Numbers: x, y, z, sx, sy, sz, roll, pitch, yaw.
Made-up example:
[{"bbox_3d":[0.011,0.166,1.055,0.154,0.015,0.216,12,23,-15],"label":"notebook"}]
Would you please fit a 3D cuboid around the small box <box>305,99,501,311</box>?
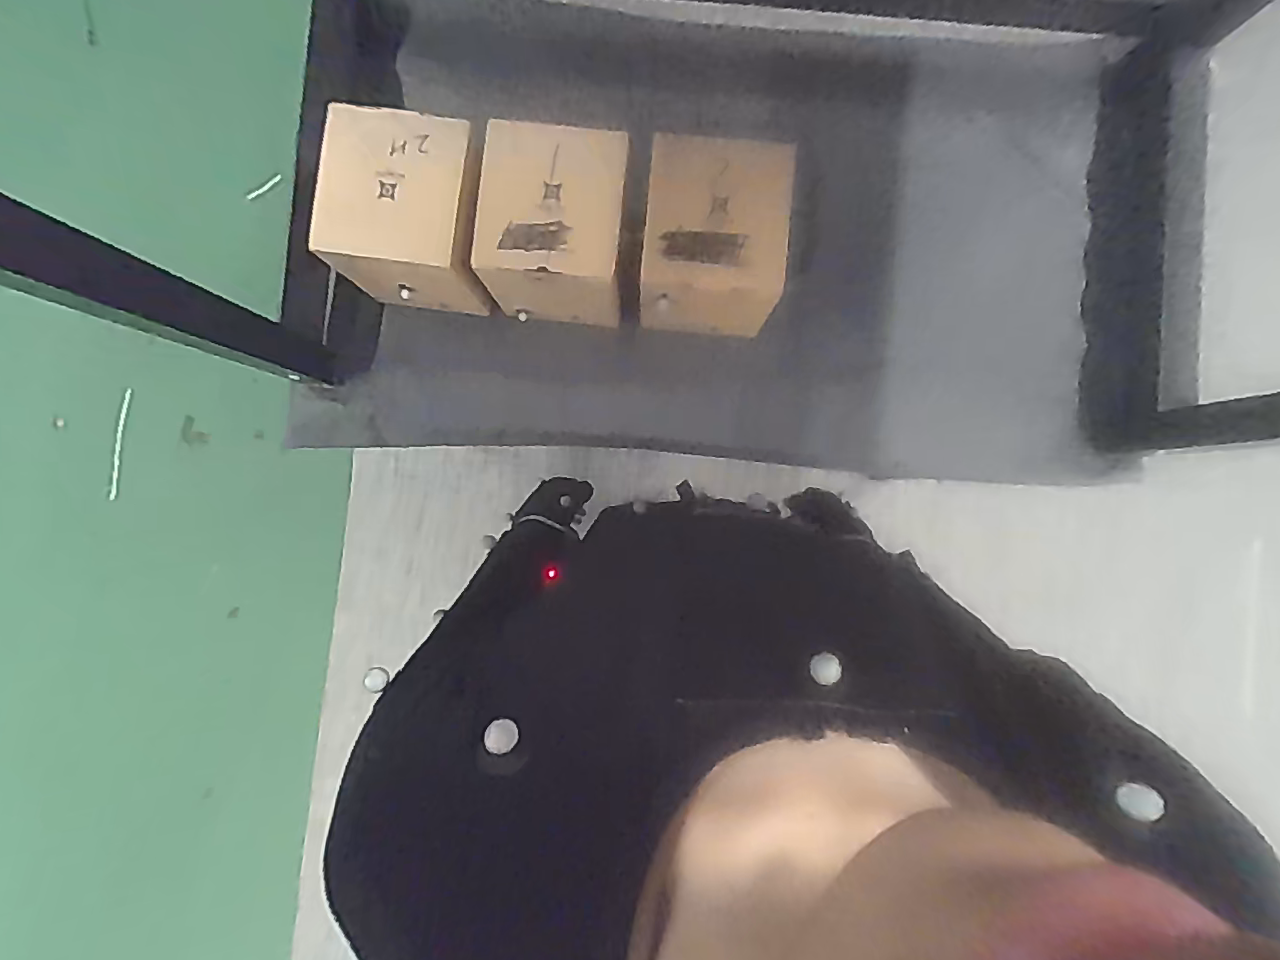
[{"bbox_3d":[-0.284,-0.332,0.687,0.168,0.176,0.179,8,88,-1],"label":"small box"}]
